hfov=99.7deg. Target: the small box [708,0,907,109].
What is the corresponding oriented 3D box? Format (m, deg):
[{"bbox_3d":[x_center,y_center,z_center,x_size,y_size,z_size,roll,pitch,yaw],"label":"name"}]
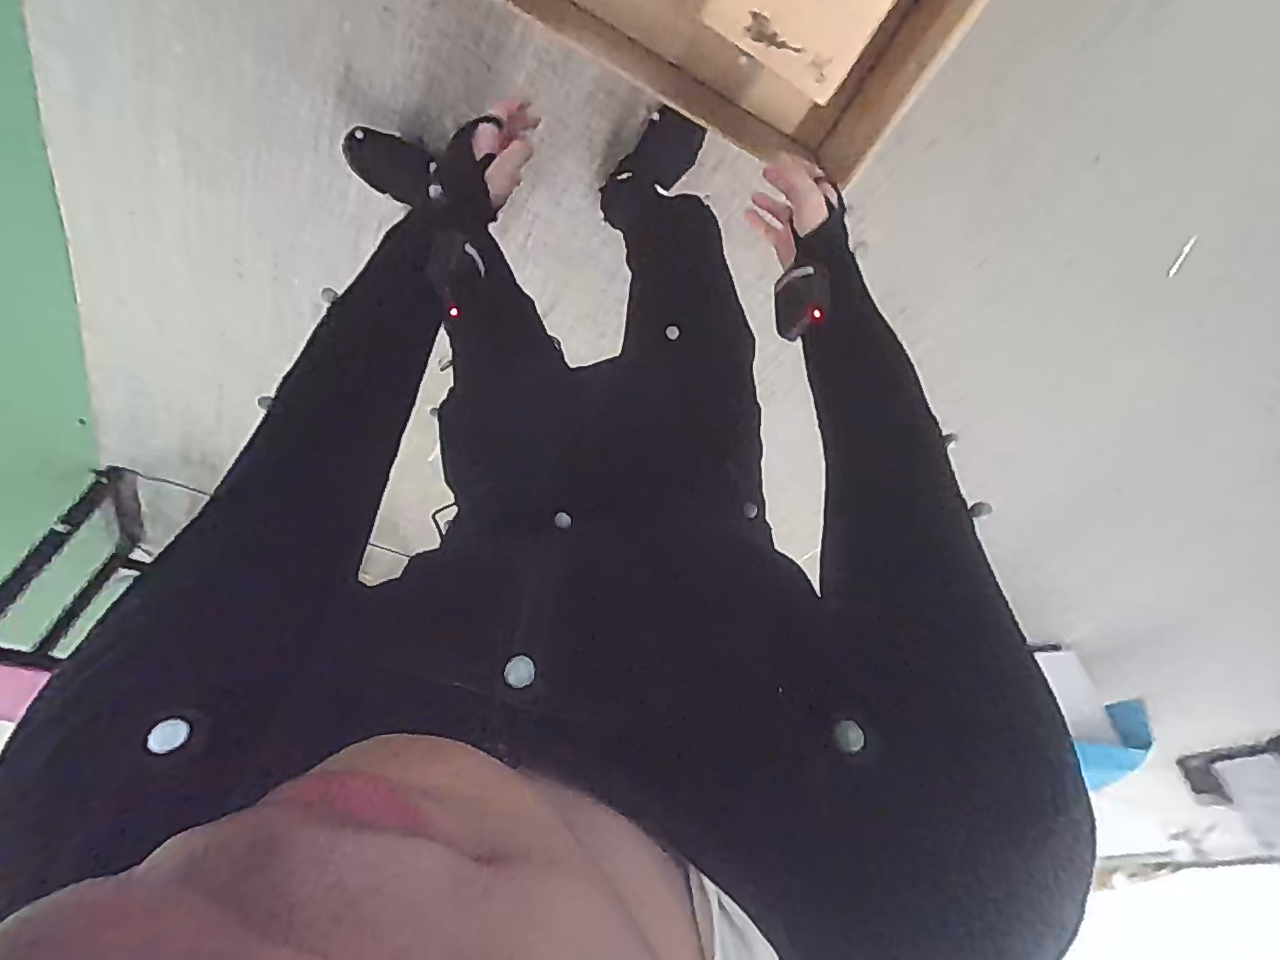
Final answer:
[{"bbox_3d":[0.181,-0.542,0.562,0.168,0.176,0.179,21,134,-20],"label":"small box"}]
